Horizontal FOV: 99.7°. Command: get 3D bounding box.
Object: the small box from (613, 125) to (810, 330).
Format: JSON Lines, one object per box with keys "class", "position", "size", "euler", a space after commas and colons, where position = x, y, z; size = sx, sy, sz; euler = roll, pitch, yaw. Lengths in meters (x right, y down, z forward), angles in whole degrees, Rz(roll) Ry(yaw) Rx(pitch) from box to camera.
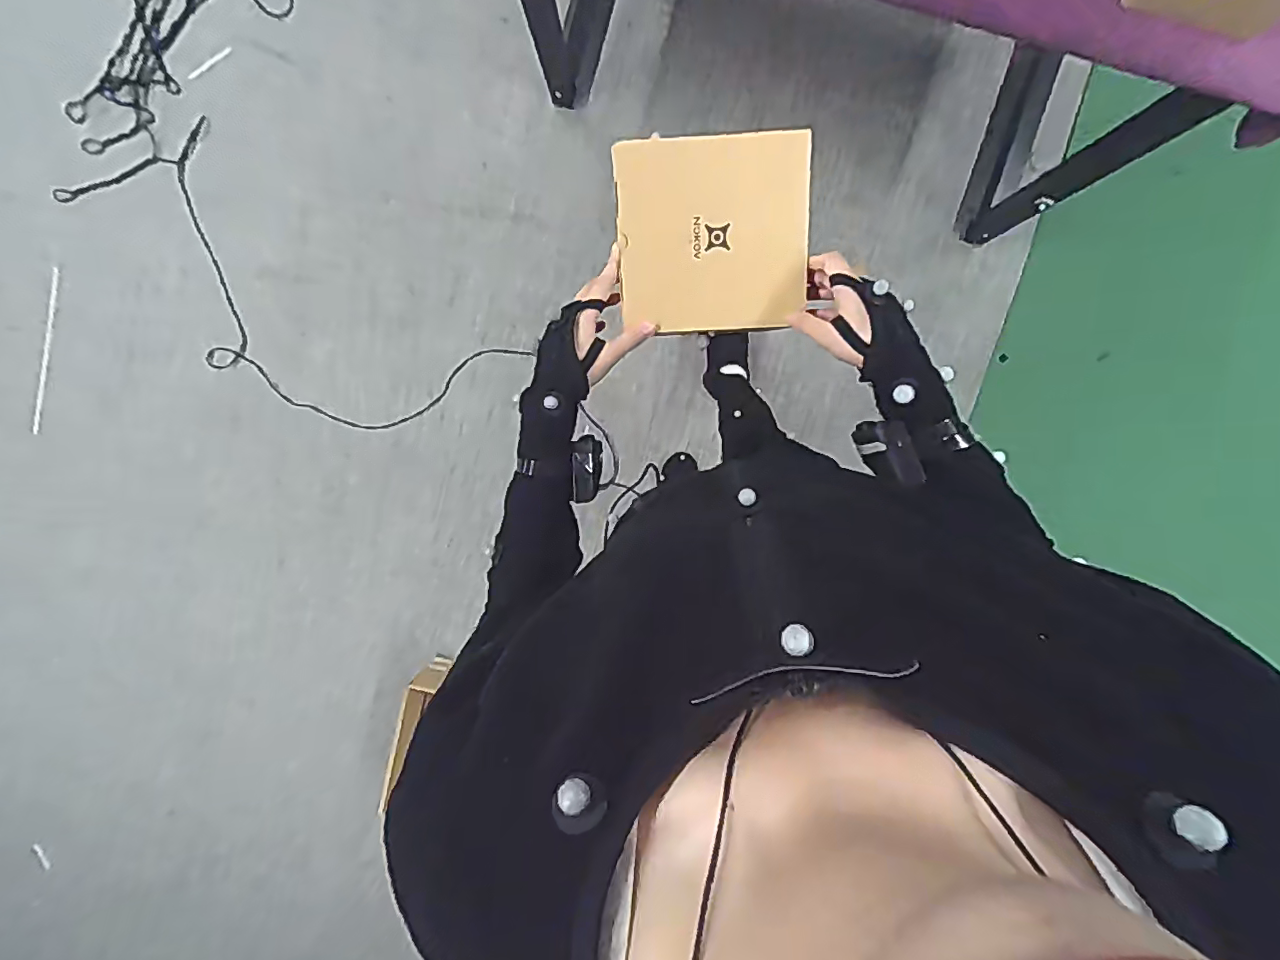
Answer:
{"class": "small box", "position": [0.069, -0.248, 0.570], "size": [0.179, 0.176, 0.168], "euler": [-3, 105, 4]}
